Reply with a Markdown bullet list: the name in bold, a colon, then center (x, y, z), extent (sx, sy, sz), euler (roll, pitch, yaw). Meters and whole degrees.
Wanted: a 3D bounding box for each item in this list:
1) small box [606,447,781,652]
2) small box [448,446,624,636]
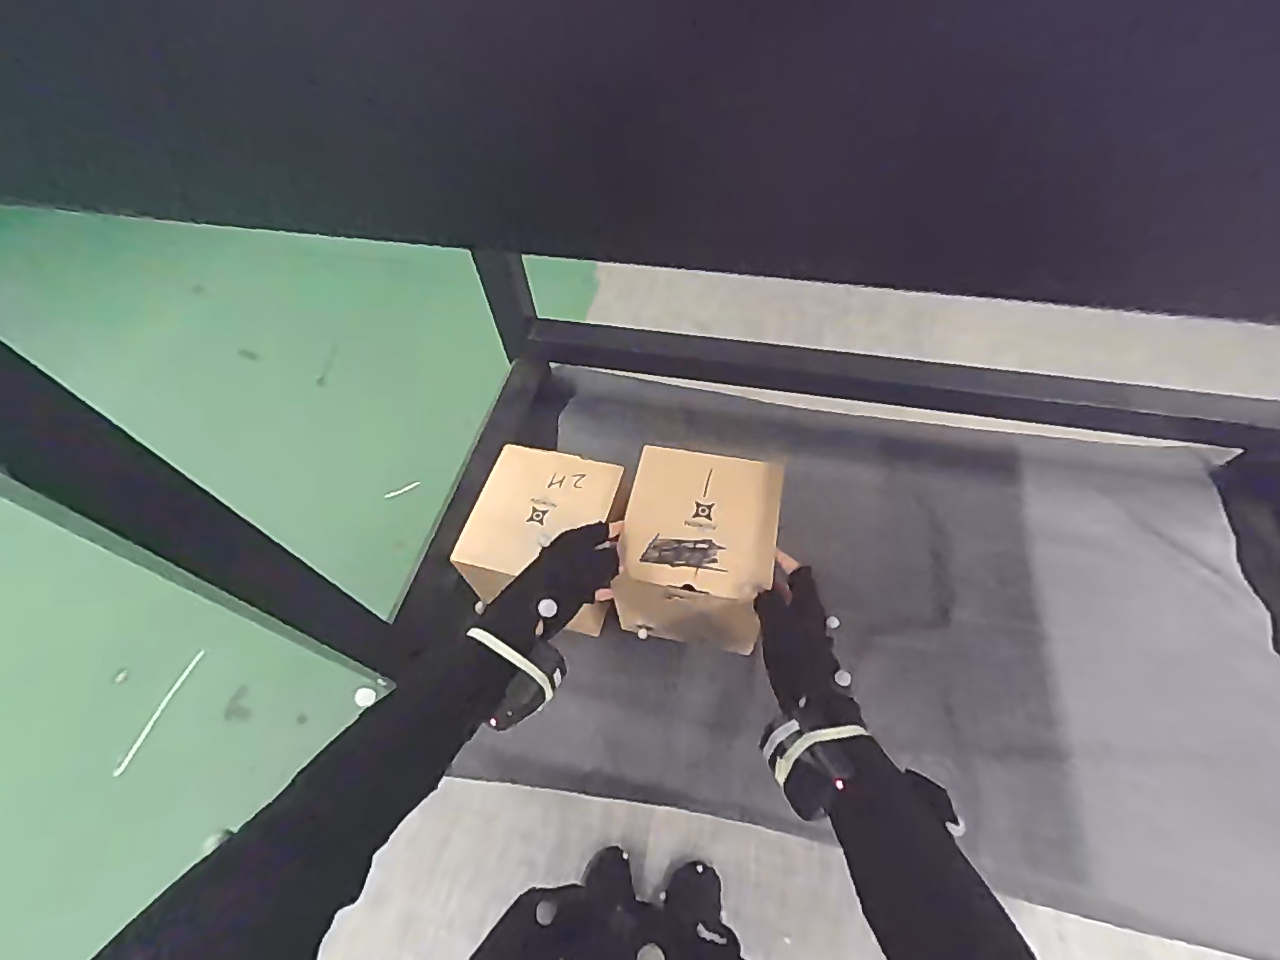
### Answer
- **small box**: center (0.068, 0.088, 0.647), extent (0.168, 0.176, 0.179), euler (9, 56, 10)
- **small box**: center (-0.117, 0.086, 0.713), extent (0.168, 0.176, 0.179), euler (12, 57, 9)
